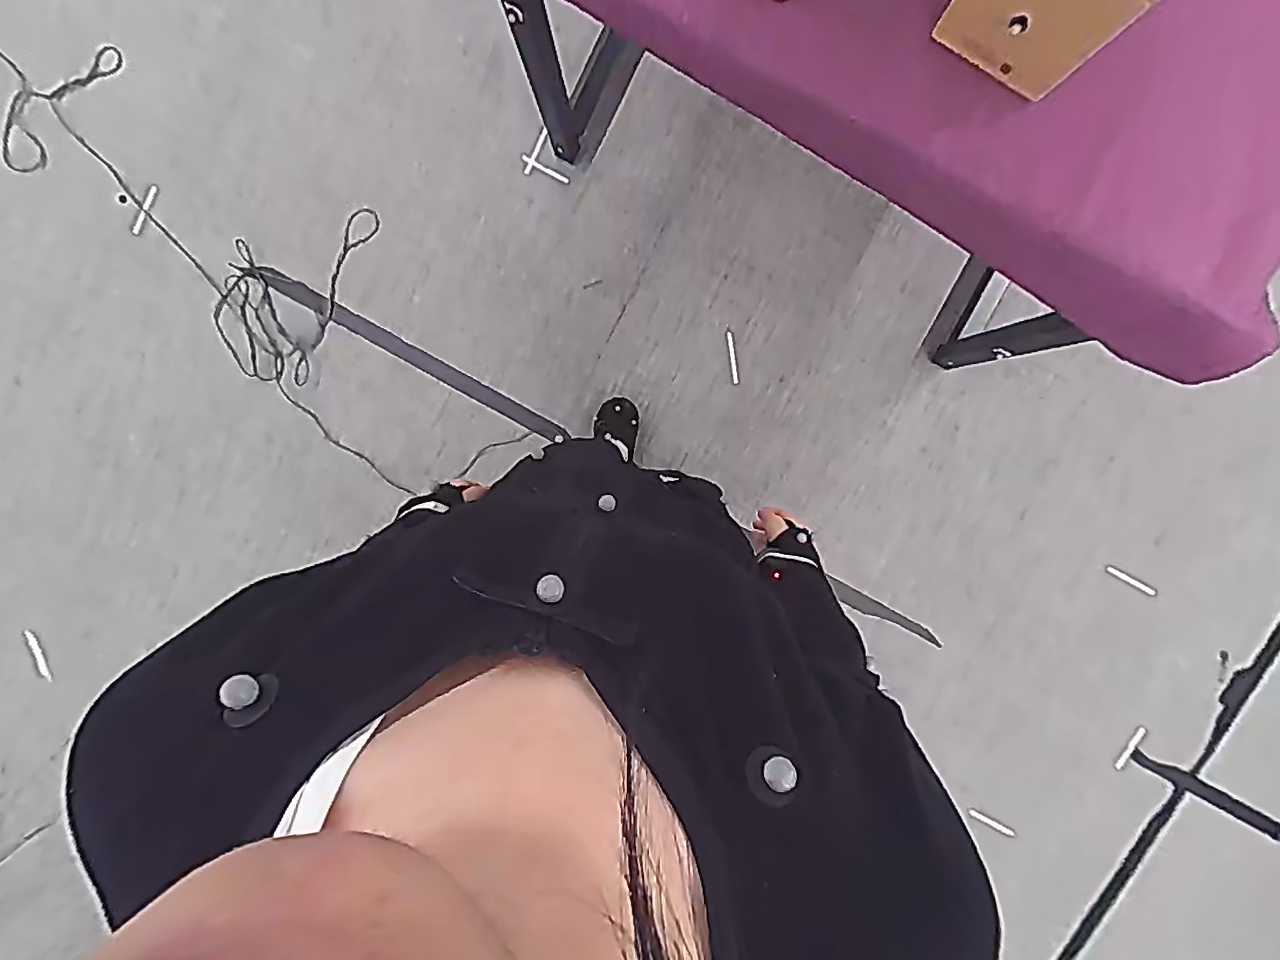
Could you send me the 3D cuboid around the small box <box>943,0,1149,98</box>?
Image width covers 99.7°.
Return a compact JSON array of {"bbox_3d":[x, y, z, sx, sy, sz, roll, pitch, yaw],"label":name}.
[{"bbox_3d":[0.489,-0.598,0.620,0.168,0.176,0.179,31,95,-3],"label":"small box"}]
